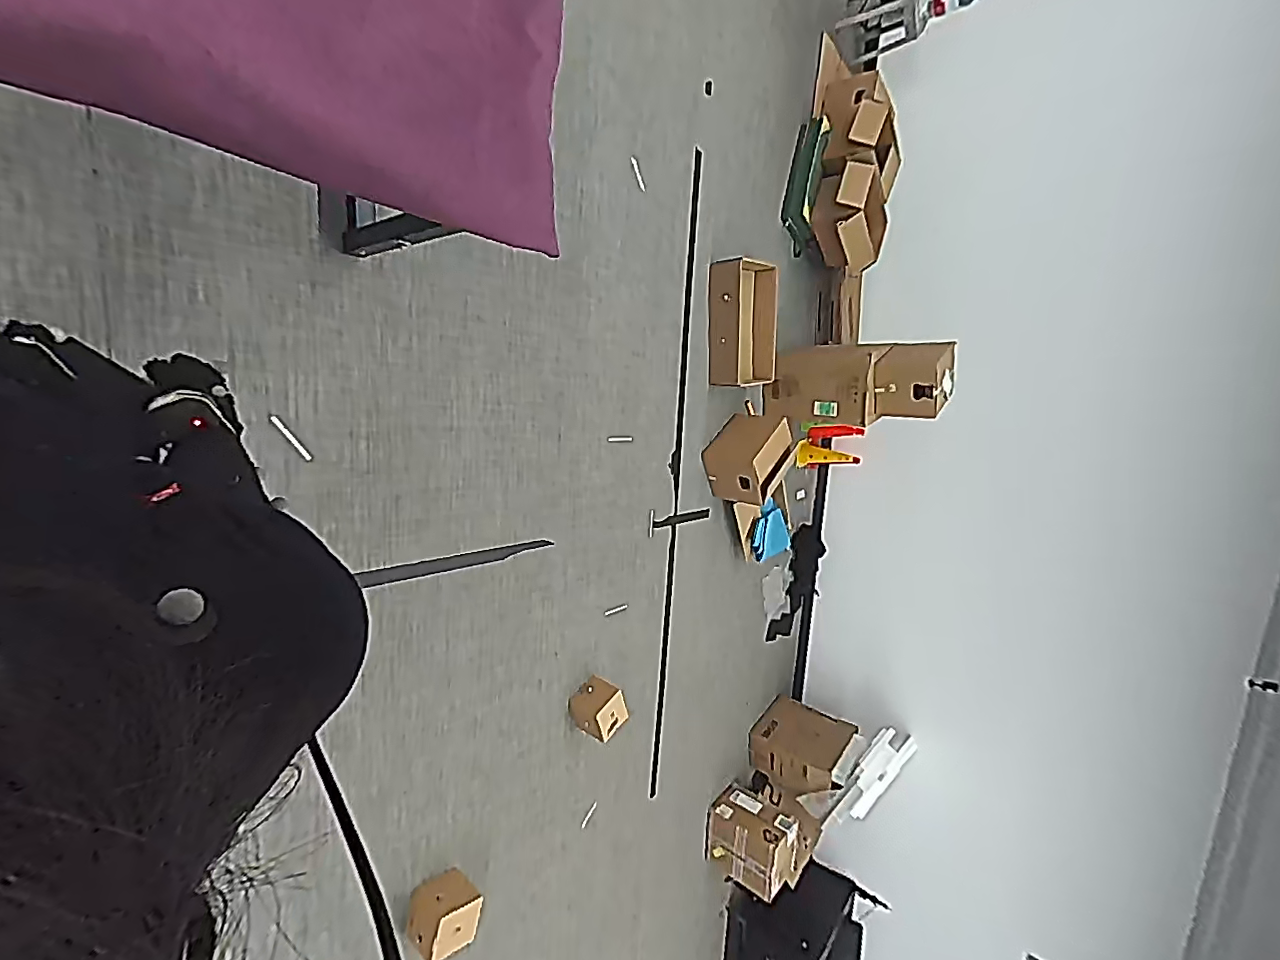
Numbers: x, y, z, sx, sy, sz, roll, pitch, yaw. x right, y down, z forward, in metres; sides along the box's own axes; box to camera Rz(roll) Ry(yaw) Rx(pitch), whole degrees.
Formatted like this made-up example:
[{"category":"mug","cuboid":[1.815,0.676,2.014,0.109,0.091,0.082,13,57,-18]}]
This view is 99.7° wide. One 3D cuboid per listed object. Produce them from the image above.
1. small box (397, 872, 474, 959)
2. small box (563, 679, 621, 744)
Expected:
[{"category":"small box","cuboid":[-0.712,1.518,1.874,0.179,0.176,0.168,14,89,-53]},{"category":"small box","cuboid":[-0.211,1.012,2.380,0.168,0.176,0.179,-36,124,-42]}]
